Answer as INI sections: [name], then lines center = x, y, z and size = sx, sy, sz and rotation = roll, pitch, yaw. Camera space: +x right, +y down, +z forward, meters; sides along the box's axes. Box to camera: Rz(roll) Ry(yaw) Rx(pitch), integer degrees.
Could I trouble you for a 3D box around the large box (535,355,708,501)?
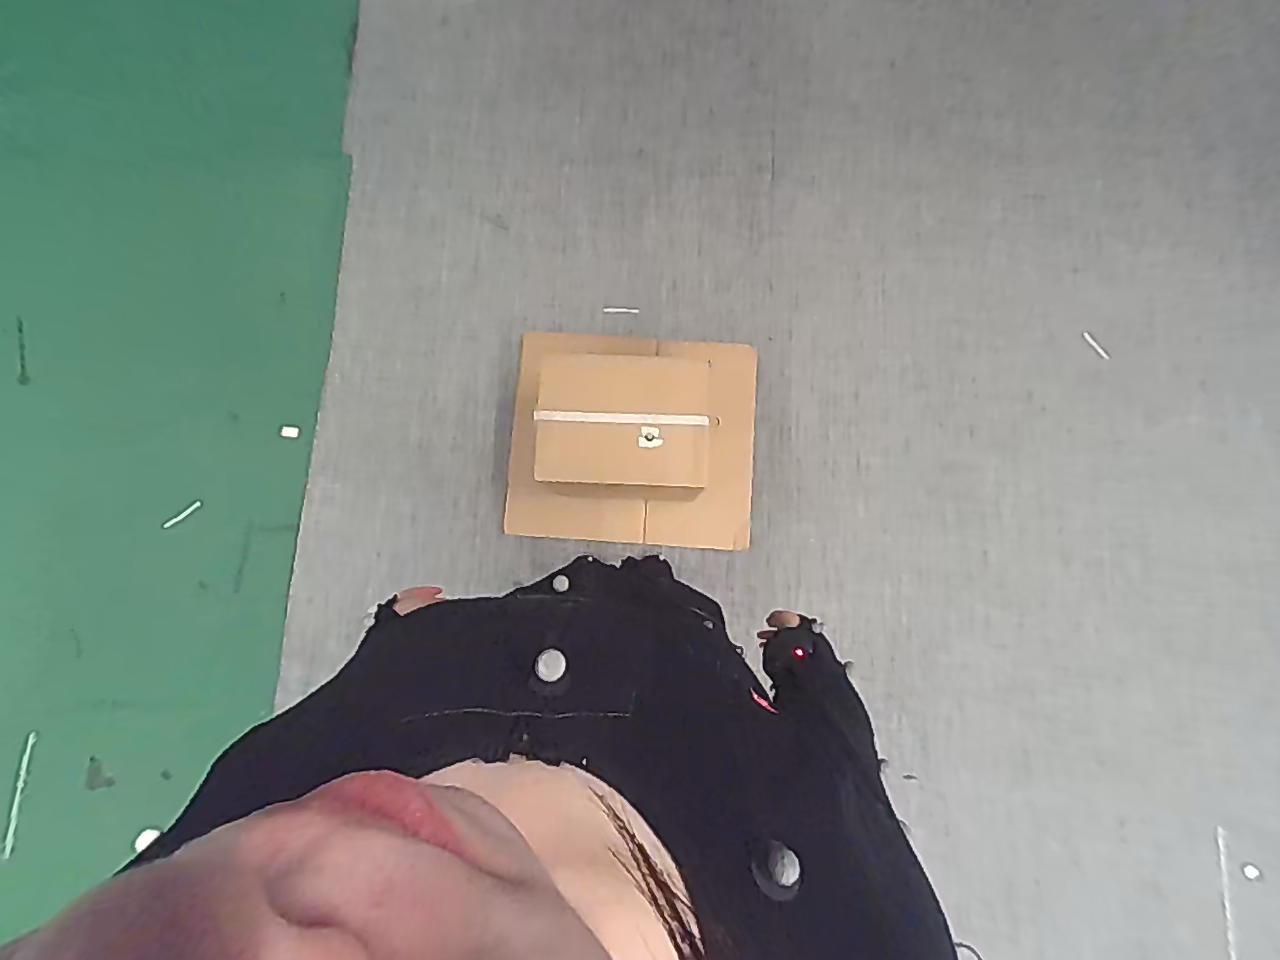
[large box]
center = -0.045, -0.116, 1.405
size = 0.408, 0.320, 0.320
rotation = 2, 82, -1
